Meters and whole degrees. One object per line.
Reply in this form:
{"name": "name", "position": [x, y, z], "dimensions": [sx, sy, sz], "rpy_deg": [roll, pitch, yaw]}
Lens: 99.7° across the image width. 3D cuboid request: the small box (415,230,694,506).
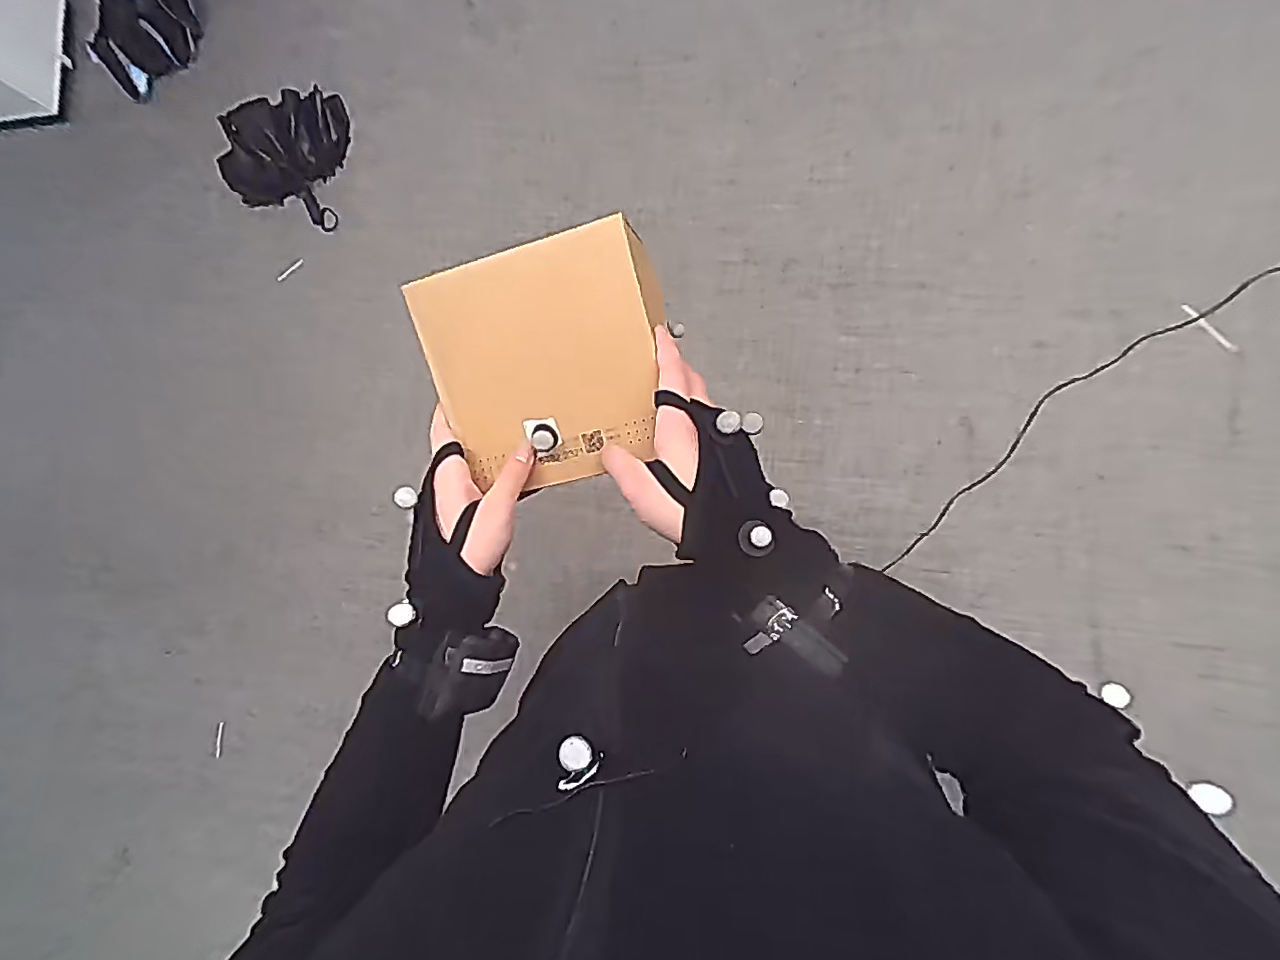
{"name": "small box", "position": [-0.054, -0.089, 0.469], "dimensions": [0.168, 0.179, 0.176], "rpy_deg": [-15, 101, 10]}
